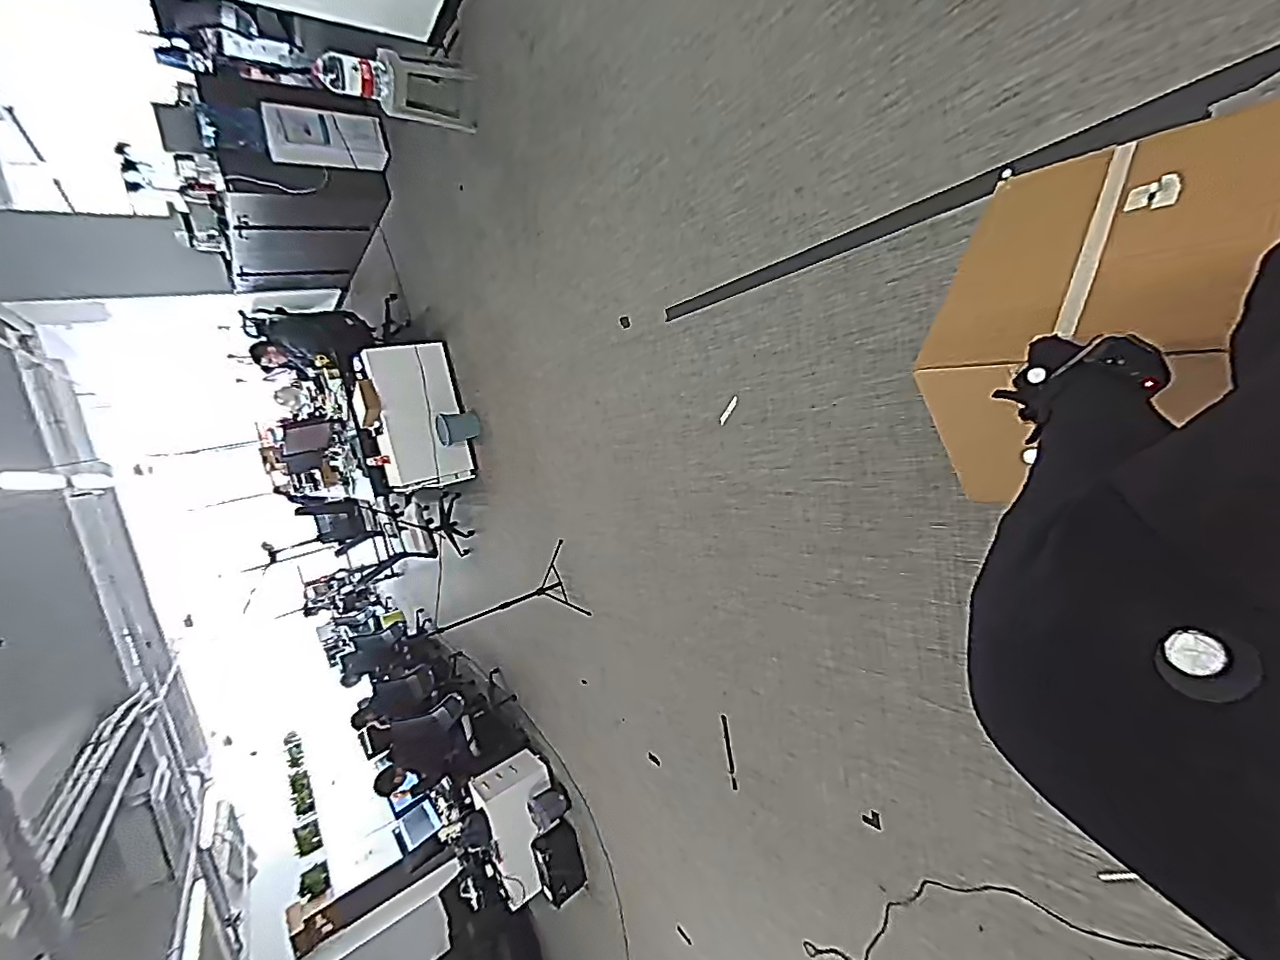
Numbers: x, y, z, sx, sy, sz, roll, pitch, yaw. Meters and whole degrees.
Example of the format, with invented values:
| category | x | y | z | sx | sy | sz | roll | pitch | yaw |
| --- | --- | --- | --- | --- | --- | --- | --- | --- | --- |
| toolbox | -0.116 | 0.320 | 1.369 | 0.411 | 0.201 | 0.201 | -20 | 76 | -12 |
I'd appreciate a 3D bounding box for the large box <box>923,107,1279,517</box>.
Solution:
| category | x | y | z | sx | sy | sz | roll | pitch | yaw |
| --- | --- | --- | --- | --- | --- | --- | --- | --- | --- |
| large box | 0.666 | -0.206 | 0.763 | 0.320 | 0.408 | 0.320 | 9 | 151 | 51 |
